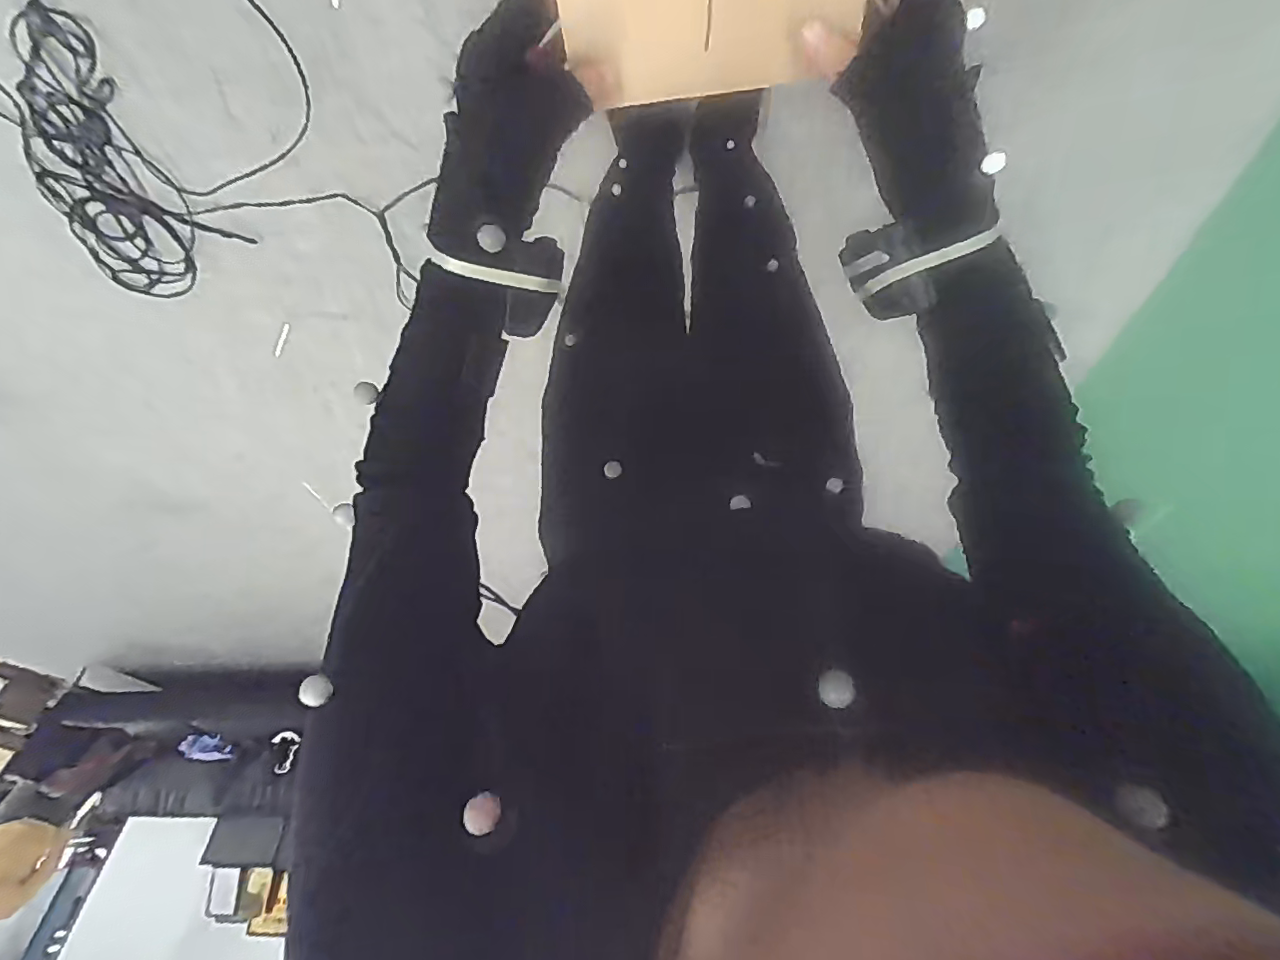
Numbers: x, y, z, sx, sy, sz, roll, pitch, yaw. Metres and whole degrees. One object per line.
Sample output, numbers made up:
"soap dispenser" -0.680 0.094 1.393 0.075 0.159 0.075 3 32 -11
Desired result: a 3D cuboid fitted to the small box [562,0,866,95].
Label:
"small box" 0.036 -0.351 0.306 0.168 0.176 0.179 -3 139 6
